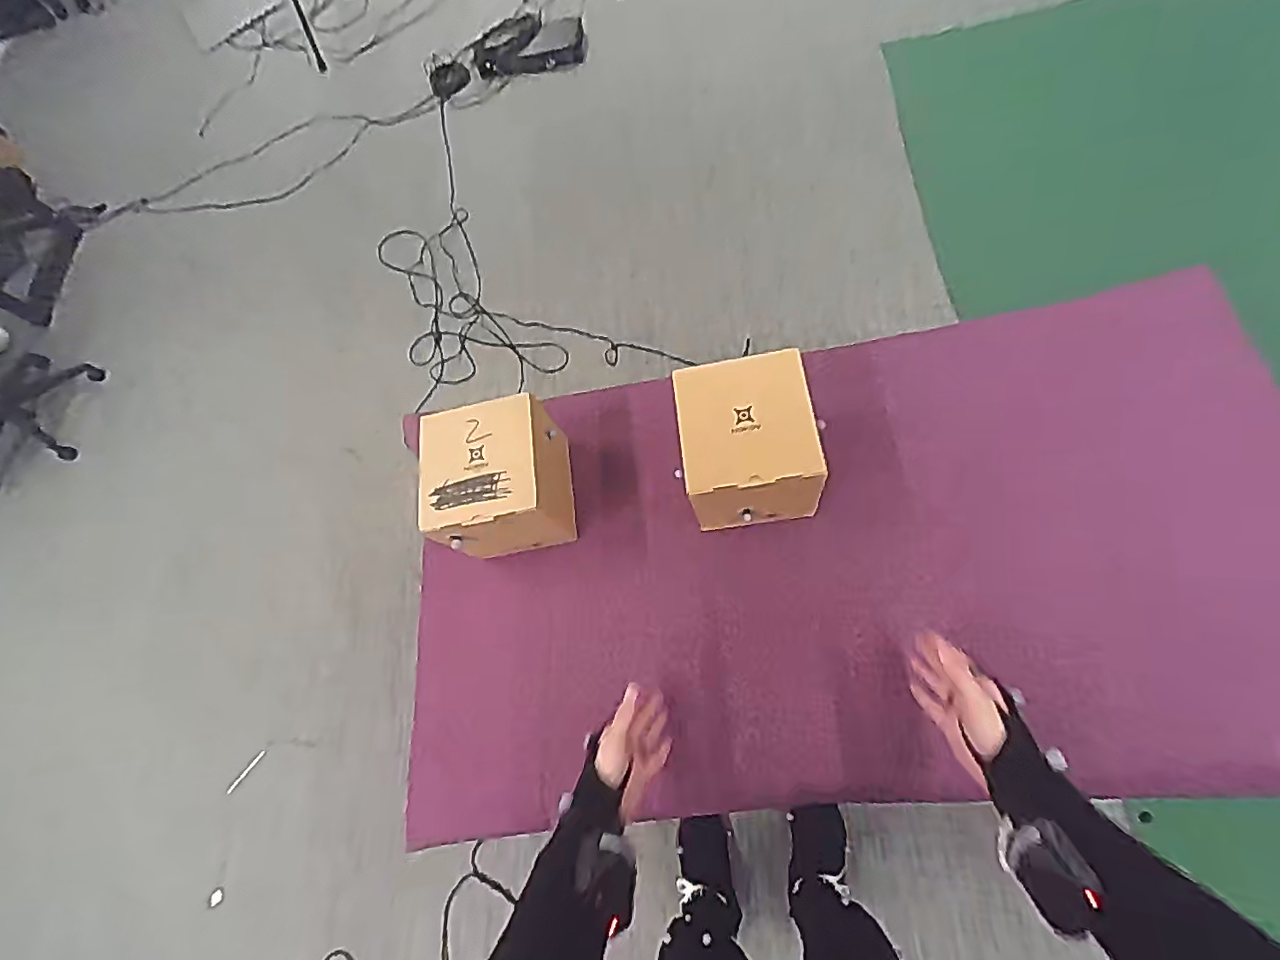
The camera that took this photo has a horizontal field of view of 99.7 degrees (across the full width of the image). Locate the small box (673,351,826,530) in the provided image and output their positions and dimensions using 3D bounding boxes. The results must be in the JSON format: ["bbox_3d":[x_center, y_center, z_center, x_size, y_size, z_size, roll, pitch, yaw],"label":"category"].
[{"bbox_3d":[0.142,-0.044,0.735,0.168,0.176,0.179,-9,69,9],"label":"small box"}]
